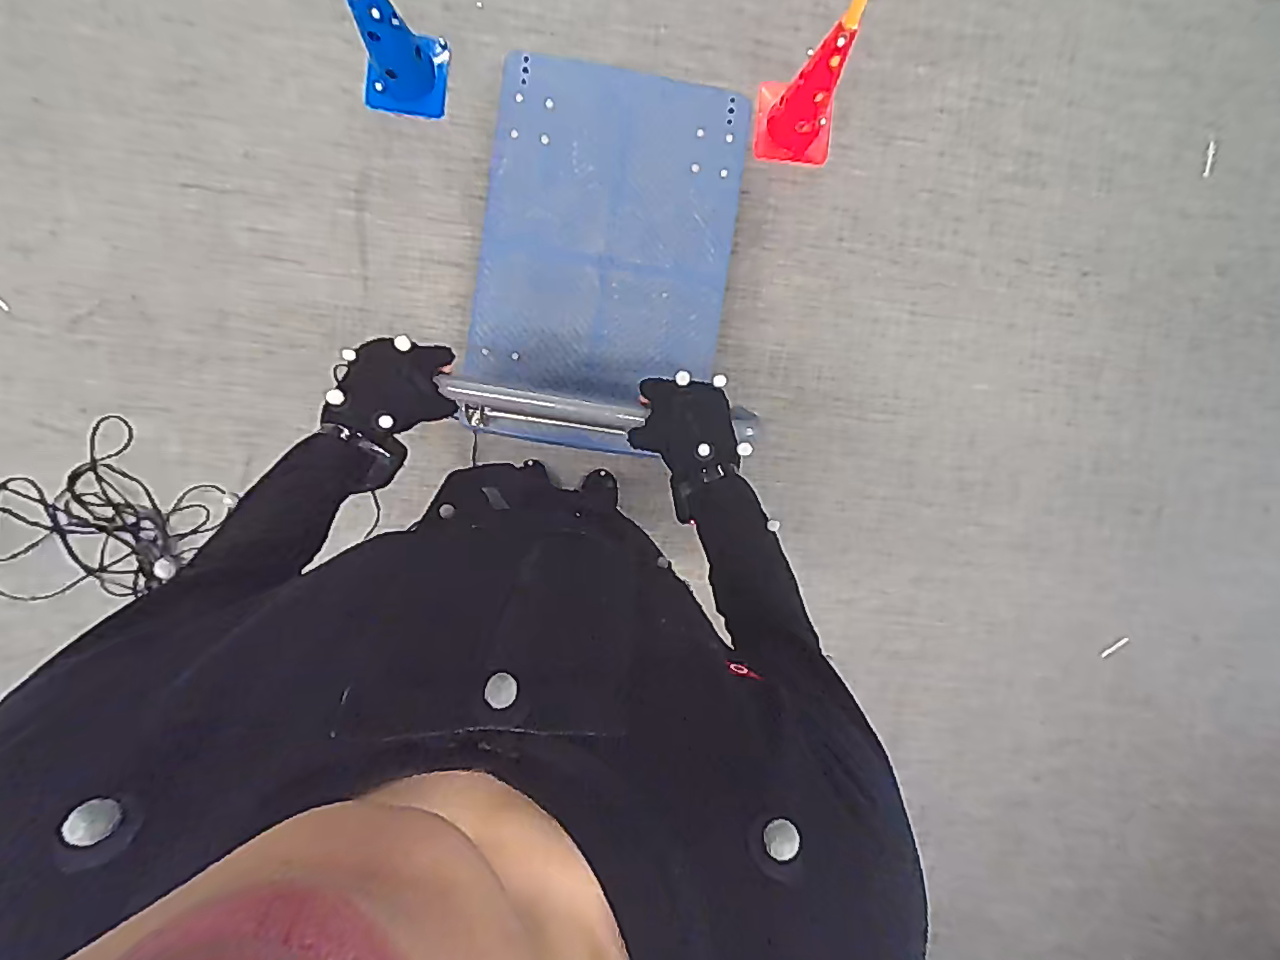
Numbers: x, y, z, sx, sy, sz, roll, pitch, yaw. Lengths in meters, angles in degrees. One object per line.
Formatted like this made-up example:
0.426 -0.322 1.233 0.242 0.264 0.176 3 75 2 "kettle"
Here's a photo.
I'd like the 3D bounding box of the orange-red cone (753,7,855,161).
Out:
0.411 -0.952 1.274 0.199 0.360 0.198 6 93 -2 "orange-red cone"
